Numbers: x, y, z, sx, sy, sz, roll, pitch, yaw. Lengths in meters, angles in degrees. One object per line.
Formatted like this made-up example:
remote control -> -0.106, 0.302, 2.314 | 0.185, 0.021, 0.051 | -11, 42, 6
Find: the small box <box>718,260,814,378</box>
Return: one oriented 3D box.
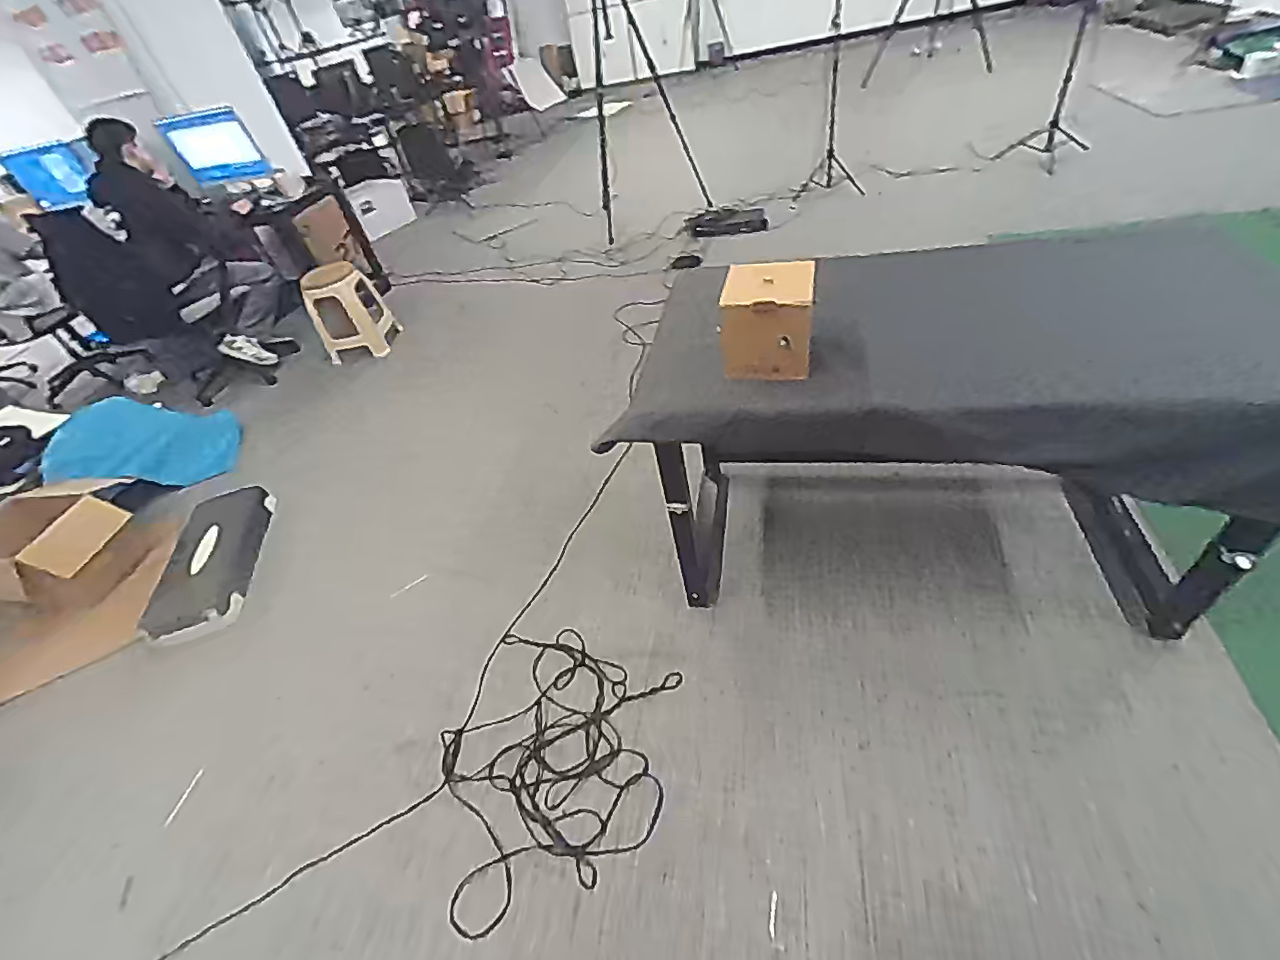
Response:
small box -> 0.253, -0.315, 1.072 | 0.168, 0.176, 0.179 | 4, 44, 16
